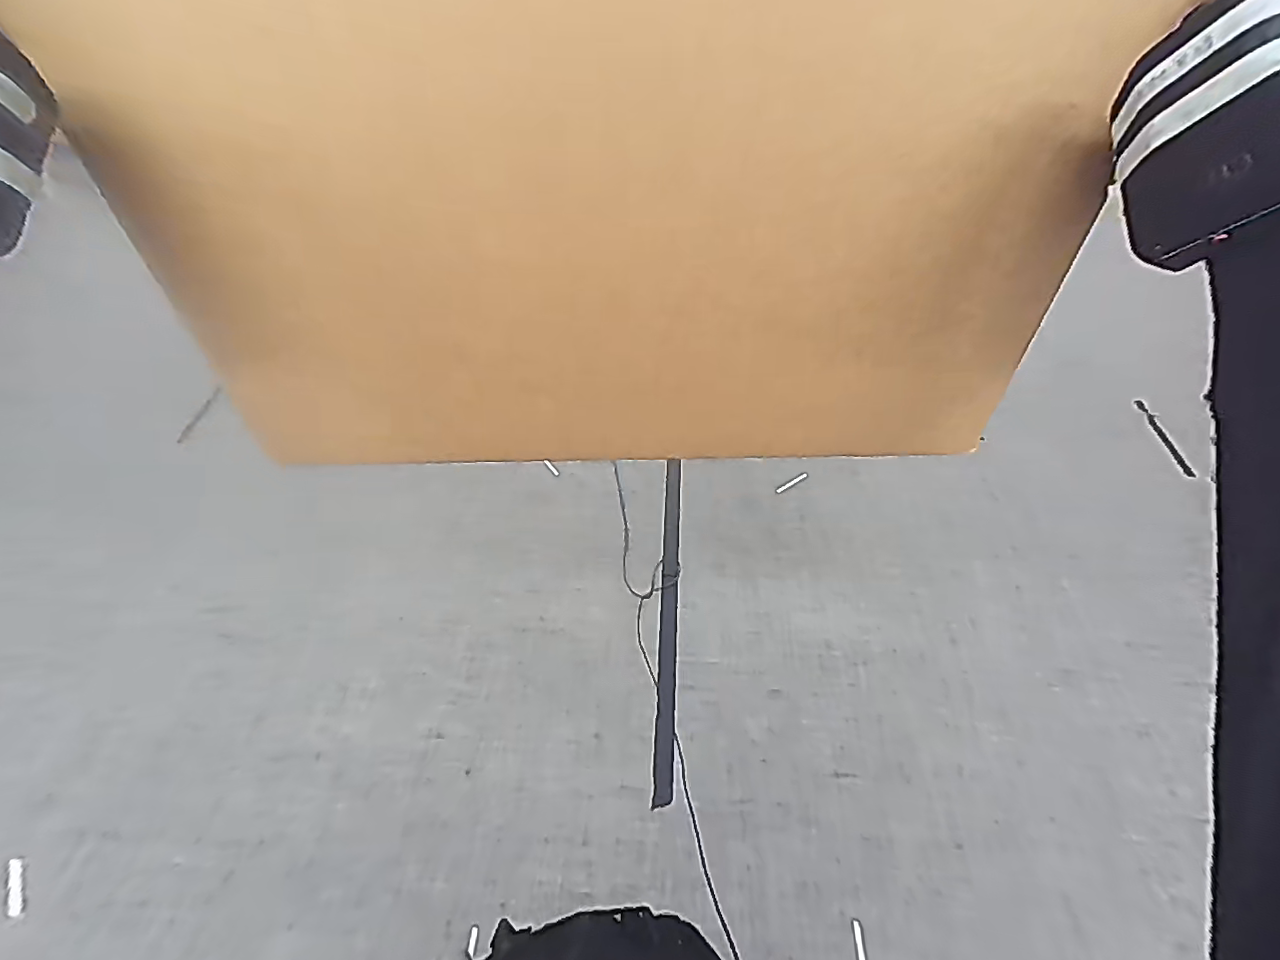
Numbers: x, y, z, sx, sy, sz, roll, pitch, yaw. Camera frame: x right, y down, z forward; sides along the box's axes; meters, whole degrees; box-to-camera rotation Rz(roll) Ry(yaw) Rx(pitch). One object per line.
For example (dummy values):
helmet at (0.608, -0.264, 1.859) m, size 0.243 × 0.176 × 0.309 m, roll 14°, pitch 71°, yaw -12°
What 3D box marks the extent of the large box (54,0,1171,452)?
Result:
large box at (-0.011, -0.229, 0.331) m, size 0.408 × 0.320 × 0.320 m, roll -1°, pitch 43°, yaw -1°
